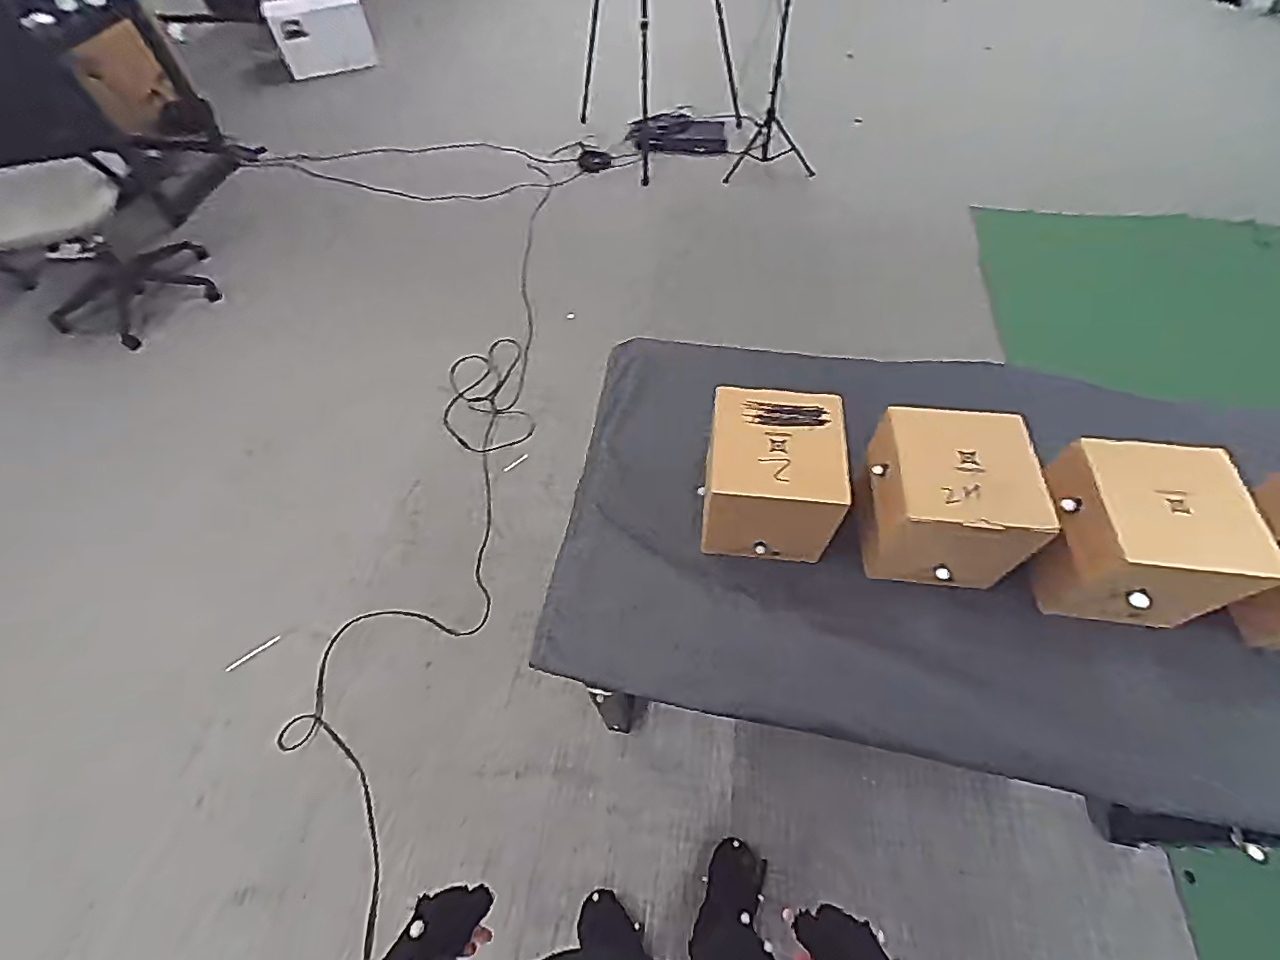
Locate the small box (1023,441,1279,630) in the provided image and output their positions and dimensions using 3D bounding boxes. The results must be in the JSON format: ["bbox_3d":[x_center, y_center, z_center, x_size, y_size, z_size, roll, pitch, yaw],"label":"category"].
[{"bbox_3d":[0.612,0.075,0.682,0.168,0.176,0.179,5,56,6],"label":"small box"}]

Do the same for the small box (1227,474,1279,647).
[{"bbox_3d":[0.849,0.104,0.649,0.168,0.176,0.179,5,55,6],"label":"small box"}]

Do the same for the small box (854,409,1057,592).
[{"bbox_3d":[0.396,0.029,0.720,0.168,0.176,0.179,4,56,6],"label":"small box"}]
